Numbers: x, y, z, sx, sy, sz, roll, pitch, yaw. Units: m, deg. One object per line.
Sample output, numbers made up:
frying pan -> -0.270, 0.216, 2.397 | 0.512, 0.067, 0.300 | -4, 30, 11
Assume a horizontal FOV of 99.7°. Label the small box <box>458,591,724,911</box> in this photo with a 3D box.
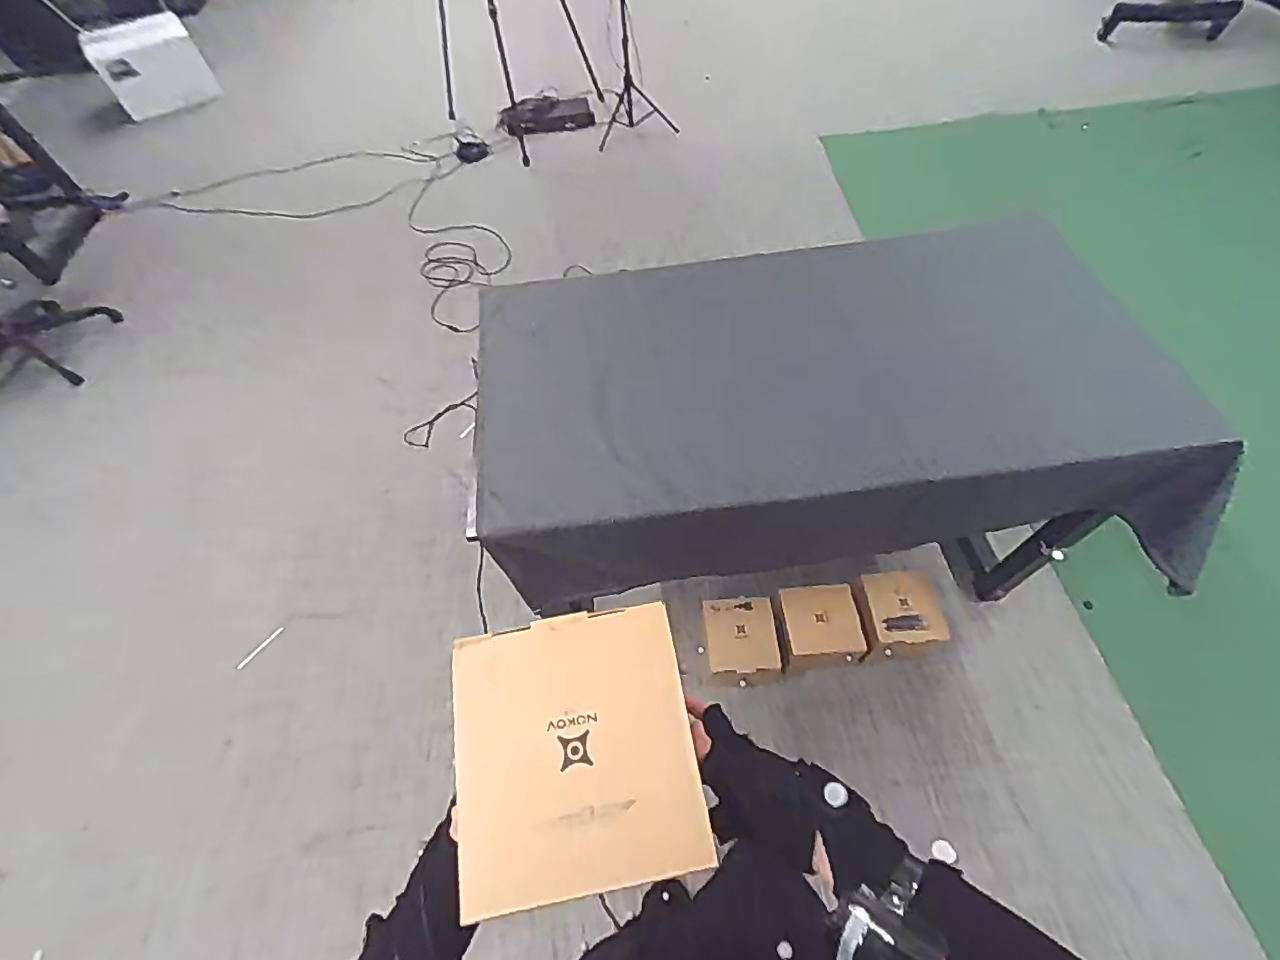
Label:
small box -> -0.041, 0.207, 0.439 | 0.168, 0.176, 0.179 | -9, 65, -4
